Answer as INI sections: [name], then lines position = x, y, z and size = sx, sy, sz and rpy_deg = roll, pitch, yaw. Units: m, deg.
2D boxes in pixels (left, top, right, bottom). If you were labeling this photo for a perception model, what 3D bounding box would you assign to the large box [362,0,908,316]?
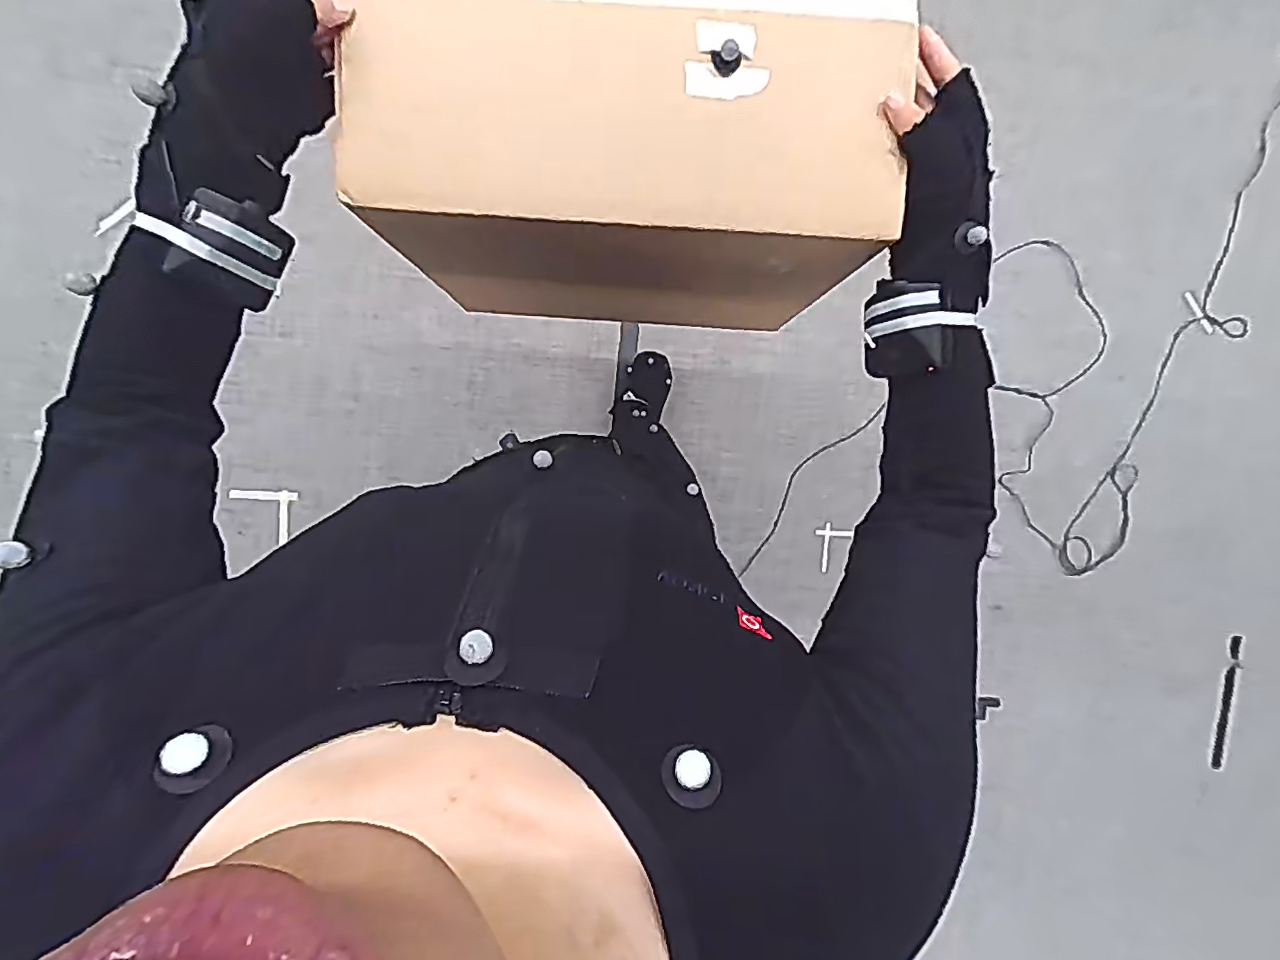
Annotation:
[large box]
position = -0.007, -0.361, 0.541
size = 0.408, 0.320, 0.320
rpy_deg = 3, 94, -3
